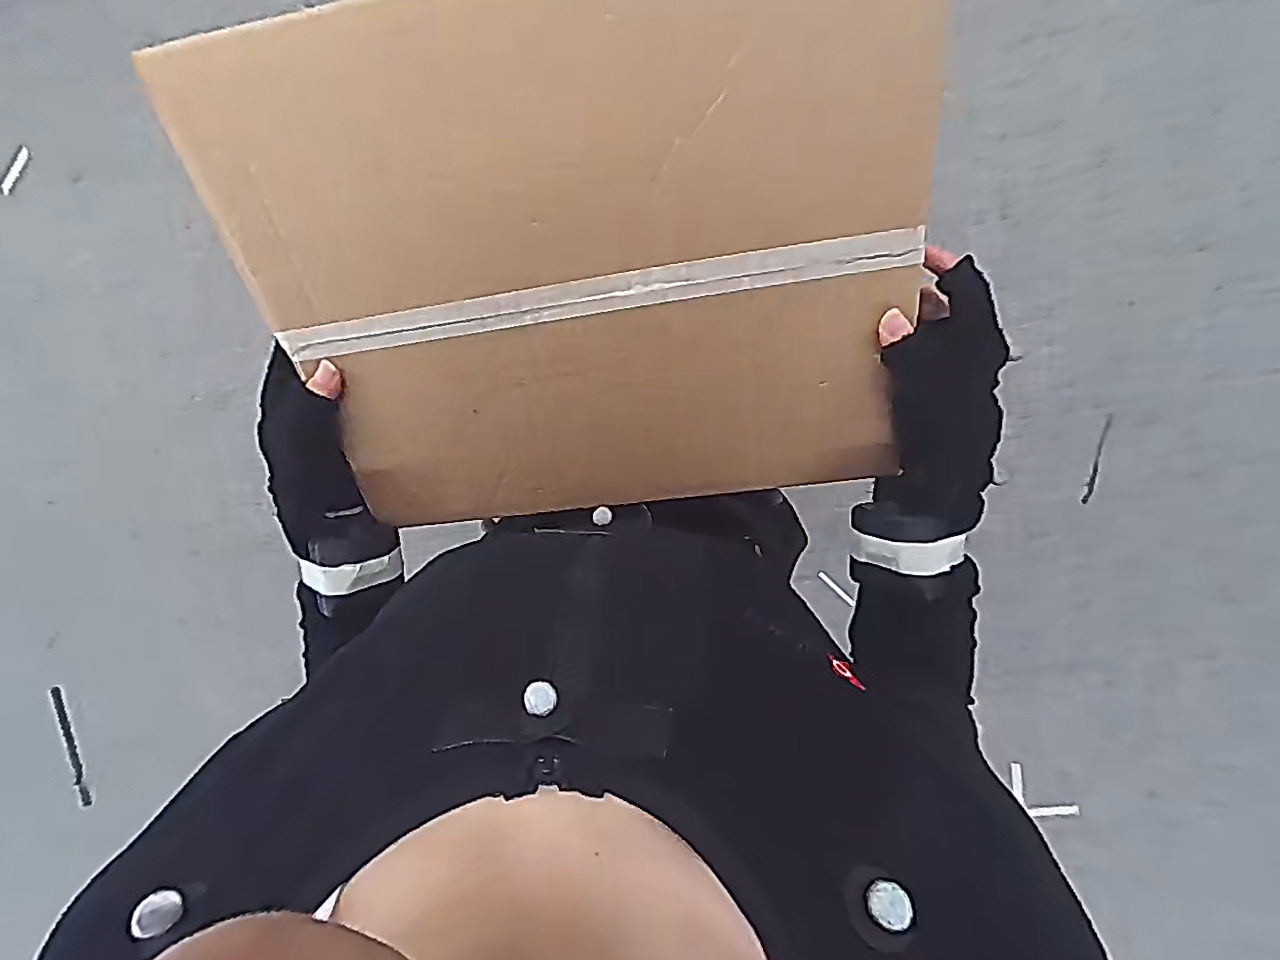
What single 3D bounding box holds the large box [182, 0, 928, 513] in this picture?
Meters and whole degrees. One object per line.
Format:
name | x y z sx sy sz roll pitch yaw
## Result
large box | -0.029 -0.202 0.472 0.408 0.320 0.320 -6 123 7
